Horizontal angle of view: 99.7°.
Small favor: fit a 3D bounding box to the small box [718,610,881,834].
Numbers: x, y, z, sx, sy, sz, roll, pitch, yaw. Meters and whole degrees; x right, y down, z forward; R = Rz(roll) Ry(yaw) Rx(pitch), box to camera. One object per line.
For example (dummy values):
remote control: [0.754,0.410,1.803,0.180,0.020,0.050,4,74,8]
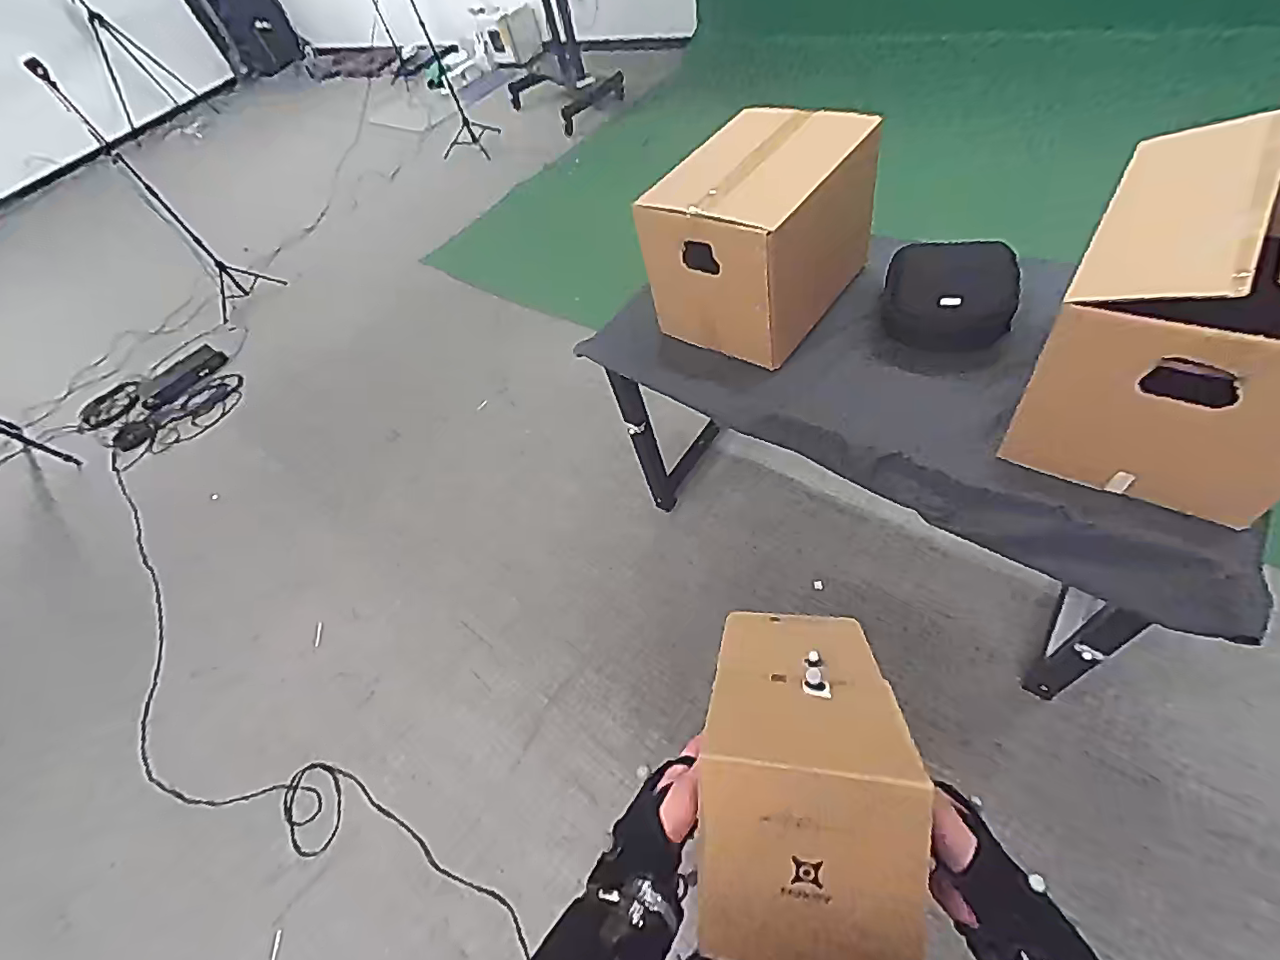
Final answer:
small box: [0.183,0.273,0.647,0.168,0.176,0.179,0,96,13]
